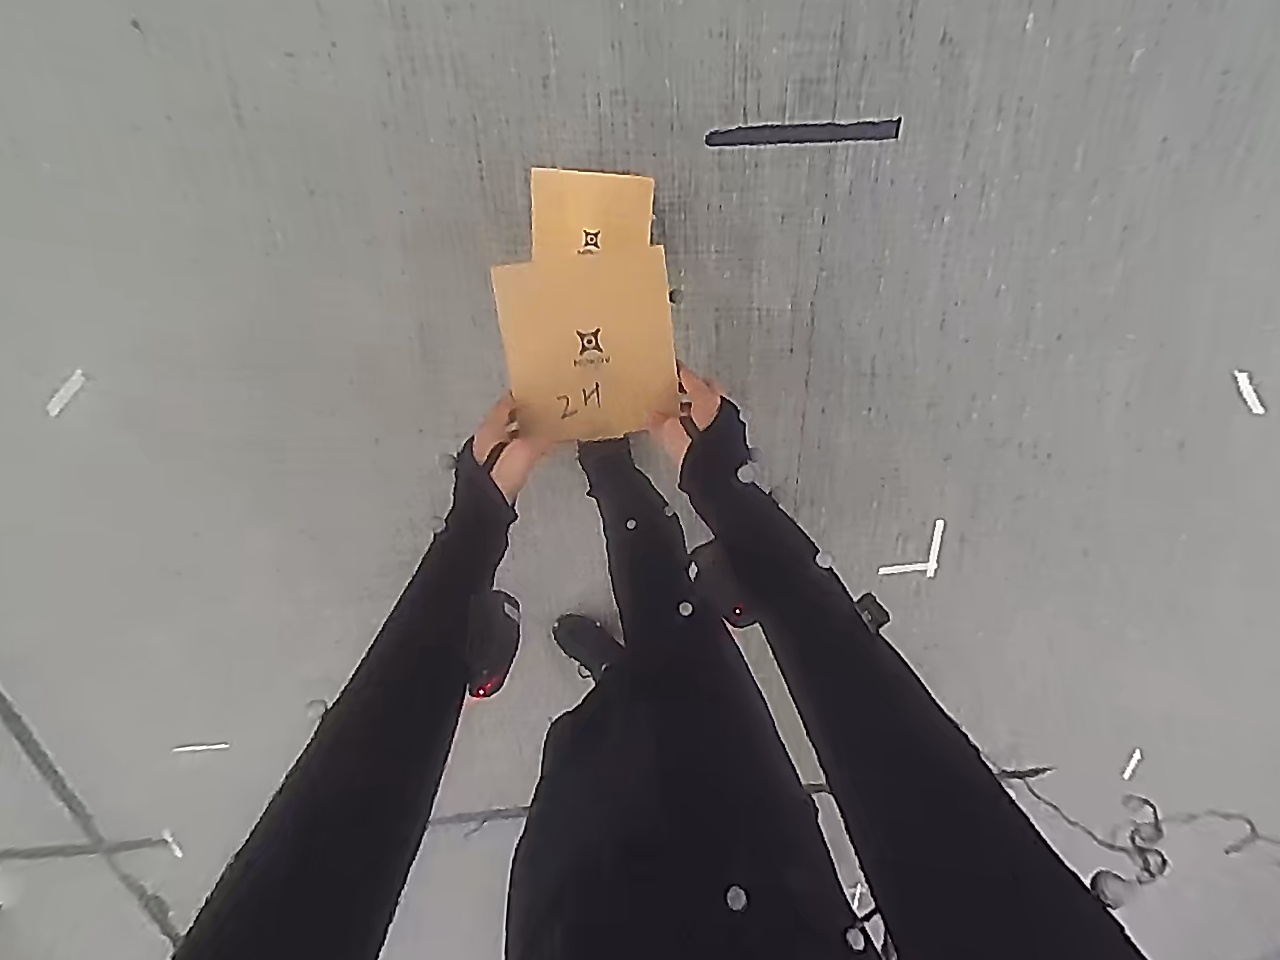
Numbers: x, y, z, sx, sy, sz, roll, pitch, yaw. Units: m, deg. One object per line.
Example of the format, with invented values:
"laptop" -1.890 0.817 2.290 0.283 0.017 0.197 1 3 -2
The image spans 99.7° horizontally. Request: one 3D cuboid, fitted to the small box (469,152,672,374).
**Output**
"small box" -0.061 -0.211 0.561 0.168 0.176 0.179 -6 106 1
